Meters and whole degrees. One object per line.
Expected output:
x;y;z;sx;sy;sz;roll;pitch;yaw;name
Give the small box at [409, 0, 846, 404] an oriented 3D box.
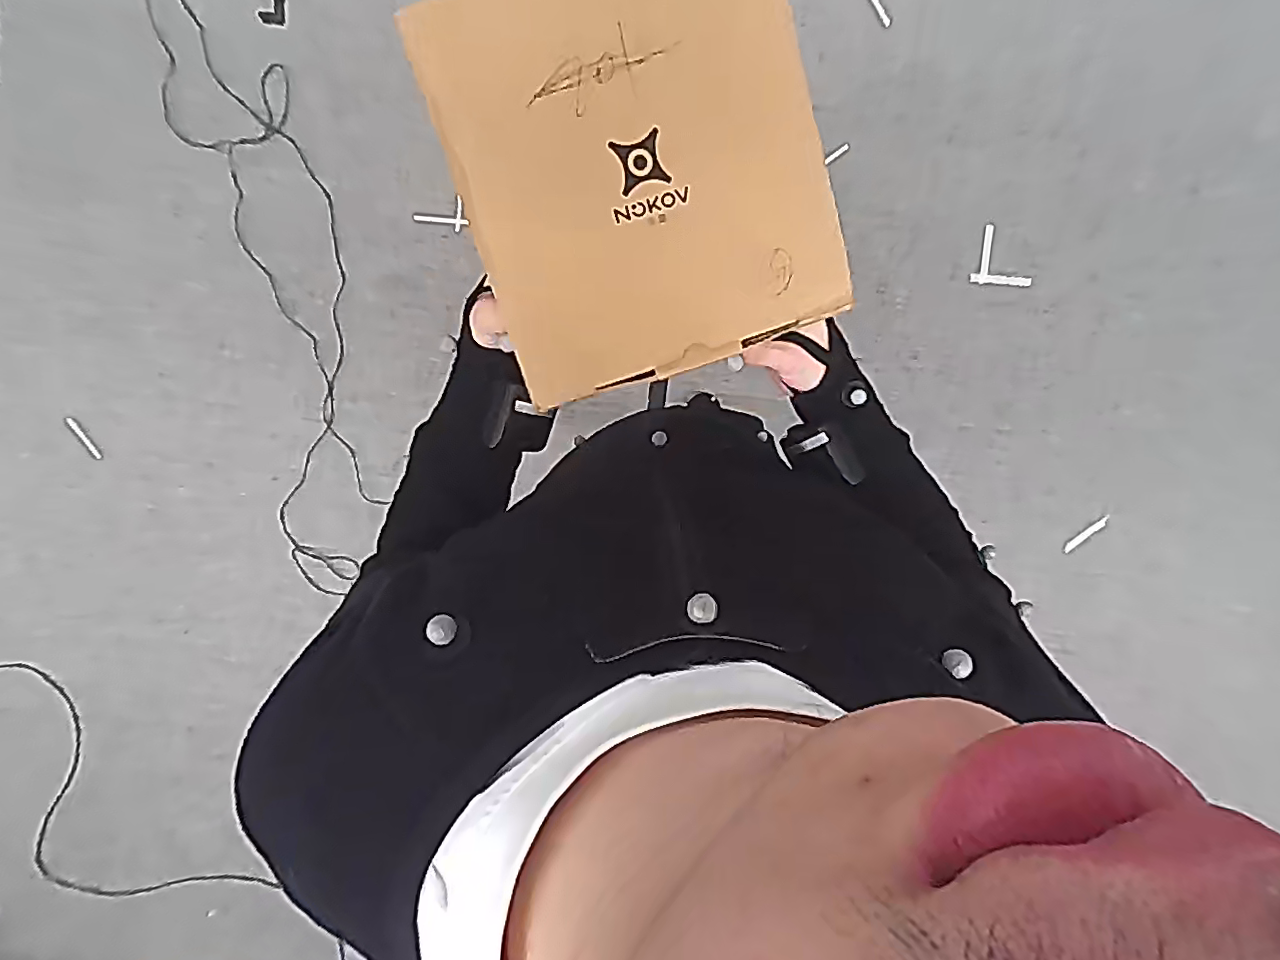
-0.005;-0.157;0.332;0.168;0.176;0.179;-20;101;-2;small box
